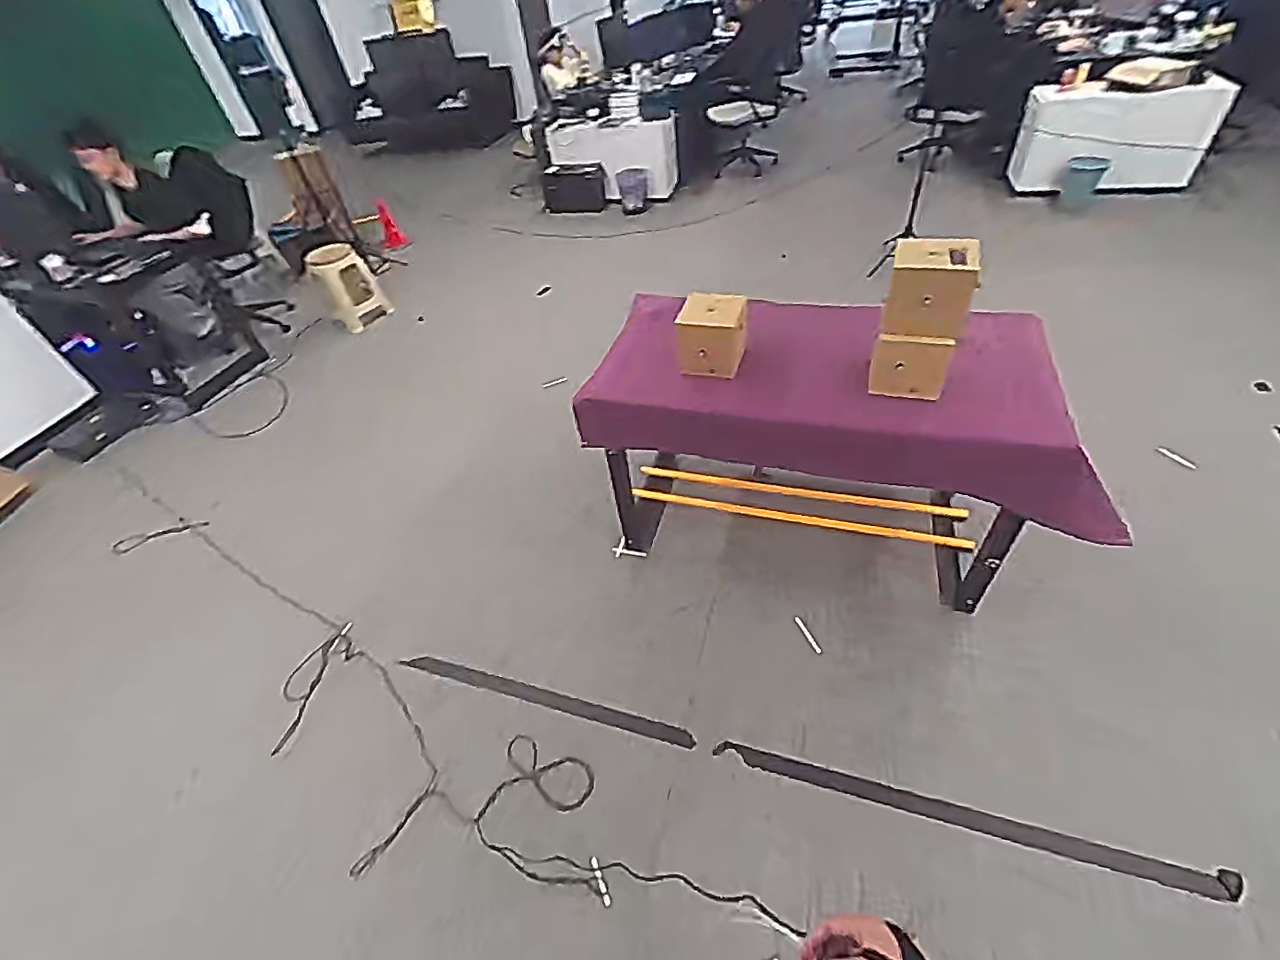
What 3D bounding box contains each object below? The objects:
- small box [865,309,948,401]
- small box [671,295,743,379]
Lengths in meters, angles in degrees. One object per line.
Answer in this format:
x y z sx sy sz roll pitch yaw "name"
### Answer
0.686 -0.323 1.399 0.168 0.176 0.179 9 47 18 "small box"
0.198 -0.411 1.560 0.168 0.176 0.179 10 48 18 "small box"
